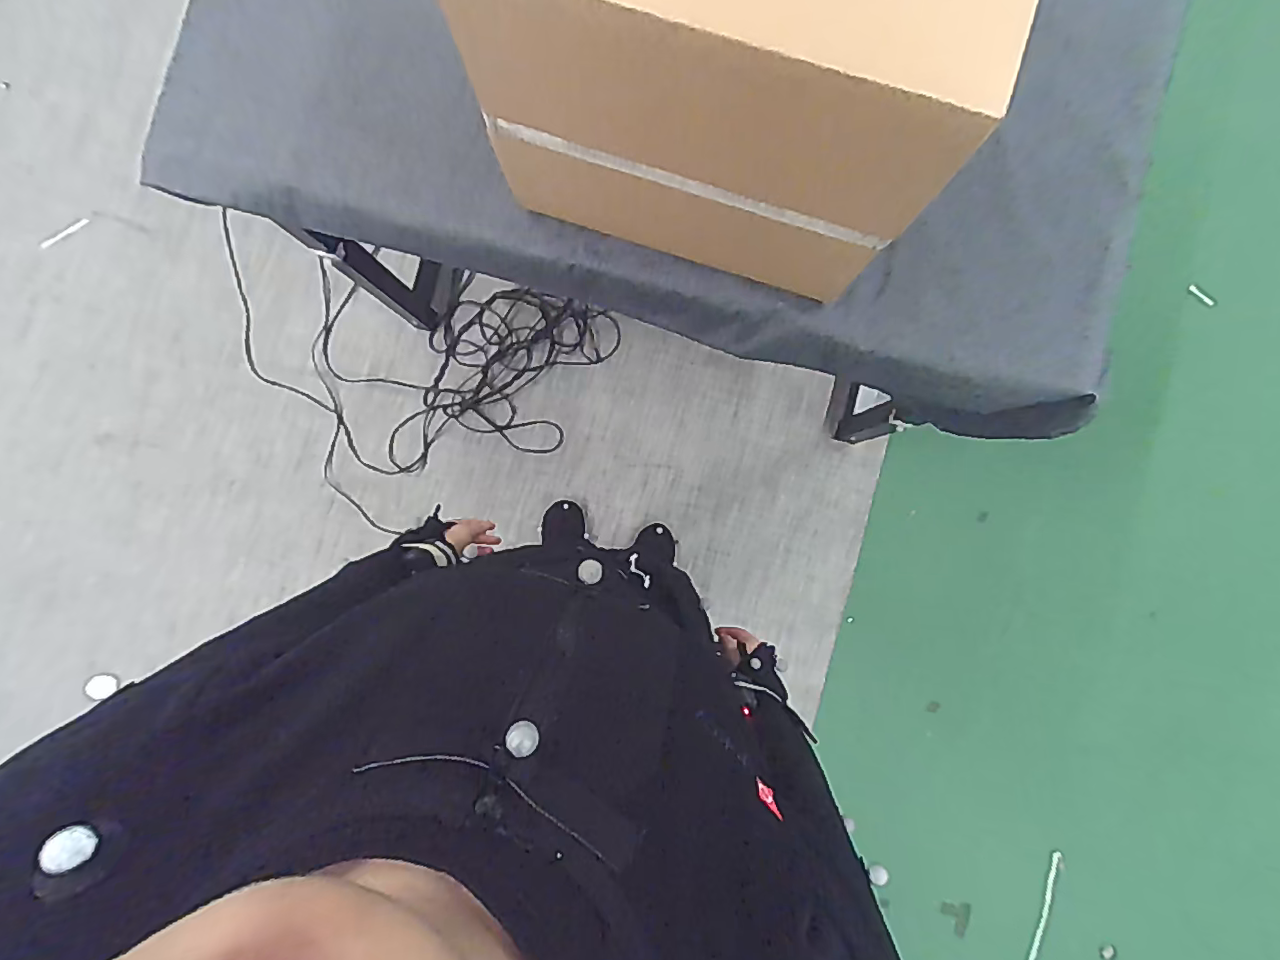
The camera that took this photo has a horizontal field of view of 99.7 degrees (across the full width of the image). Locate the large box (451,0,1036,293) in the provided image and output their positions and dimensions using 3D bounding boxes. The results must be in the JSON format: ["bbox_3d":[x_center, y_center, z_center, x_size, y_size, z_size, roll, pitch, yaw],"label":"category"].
[{"bbox_3d":[0.093,-0.427,0.517,0.408,0.320,0.320,16,86,0],"label":"large box"}]
